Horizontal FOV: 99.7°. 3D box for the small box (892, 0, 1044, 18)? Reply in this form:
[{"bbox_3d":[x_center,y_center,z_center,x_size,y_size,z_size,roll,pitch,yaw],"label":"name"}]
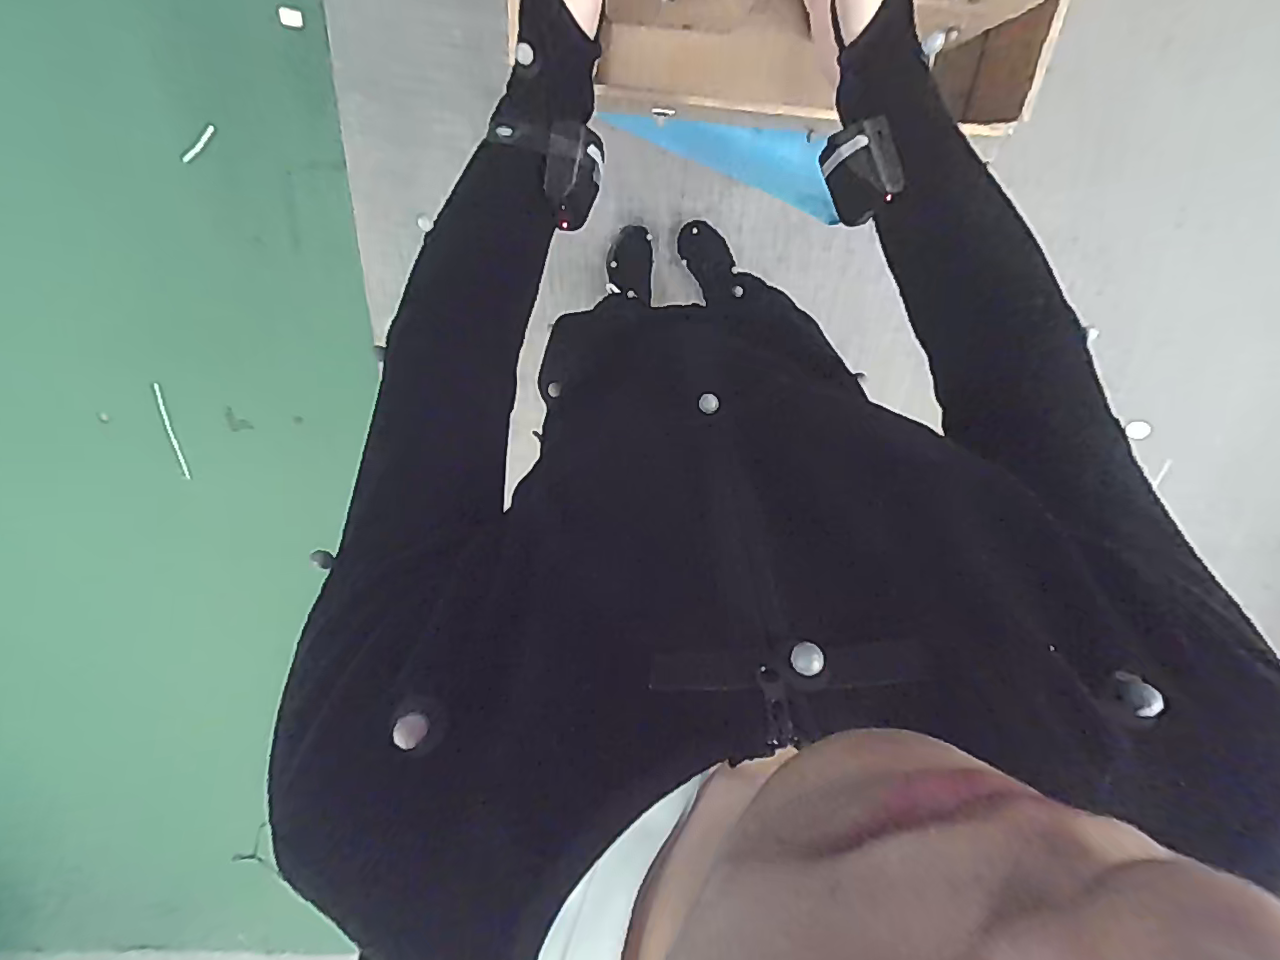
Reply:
[{"bbox_3d":[0.331,-0.541,0.462,0.168,0.176,0.179,5,116,-4],"label":"small box"}]
